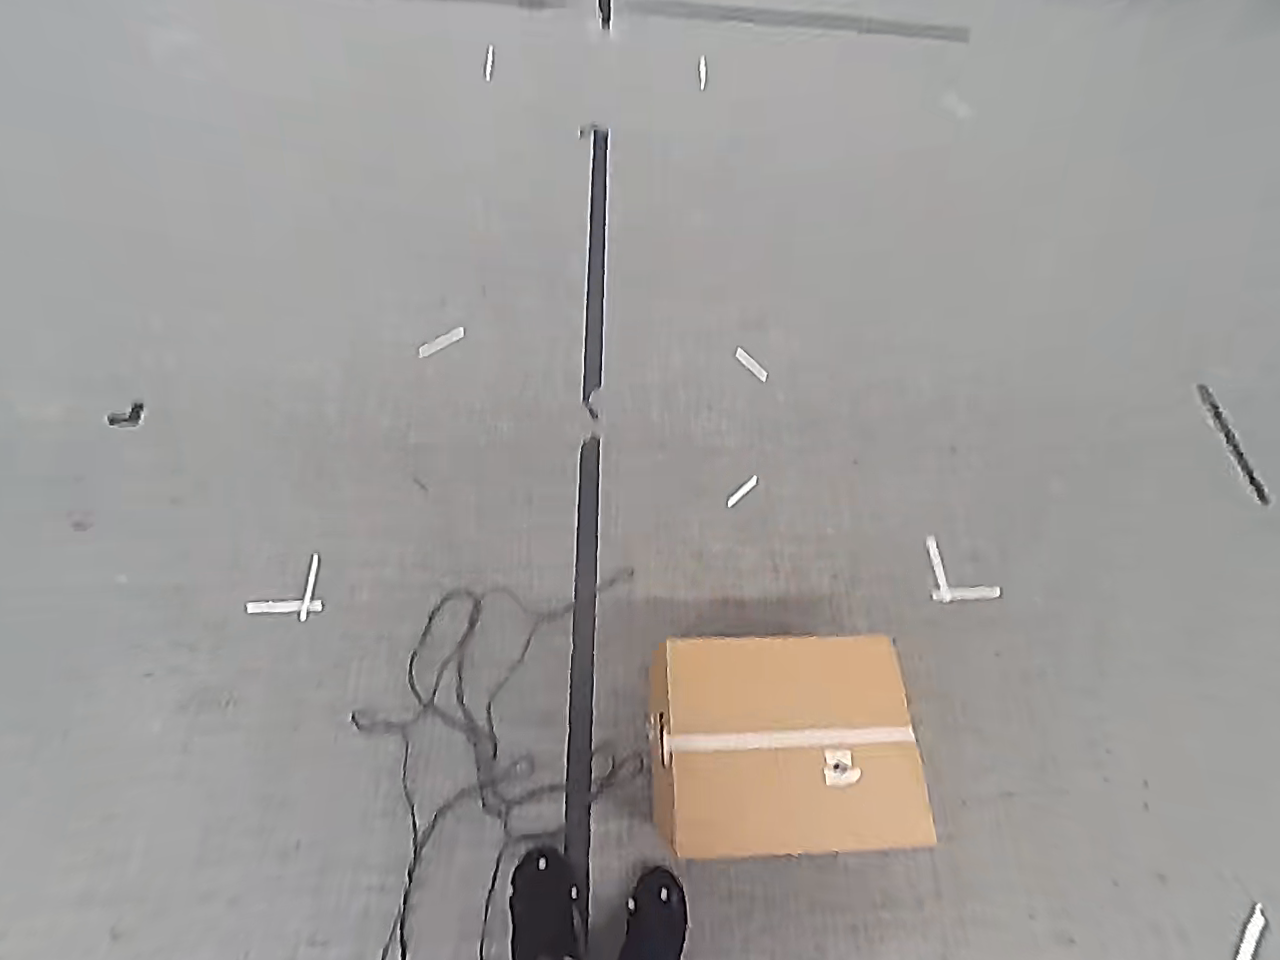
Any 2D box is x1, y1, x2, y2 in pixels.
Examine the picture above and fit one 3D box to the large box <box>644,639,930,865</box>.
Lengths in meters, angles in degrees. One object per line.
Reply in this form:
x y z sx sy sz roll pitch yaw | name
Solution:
0.229 0.485 1.005 0.408 0.320 0.320 0 65 -6 | large box
